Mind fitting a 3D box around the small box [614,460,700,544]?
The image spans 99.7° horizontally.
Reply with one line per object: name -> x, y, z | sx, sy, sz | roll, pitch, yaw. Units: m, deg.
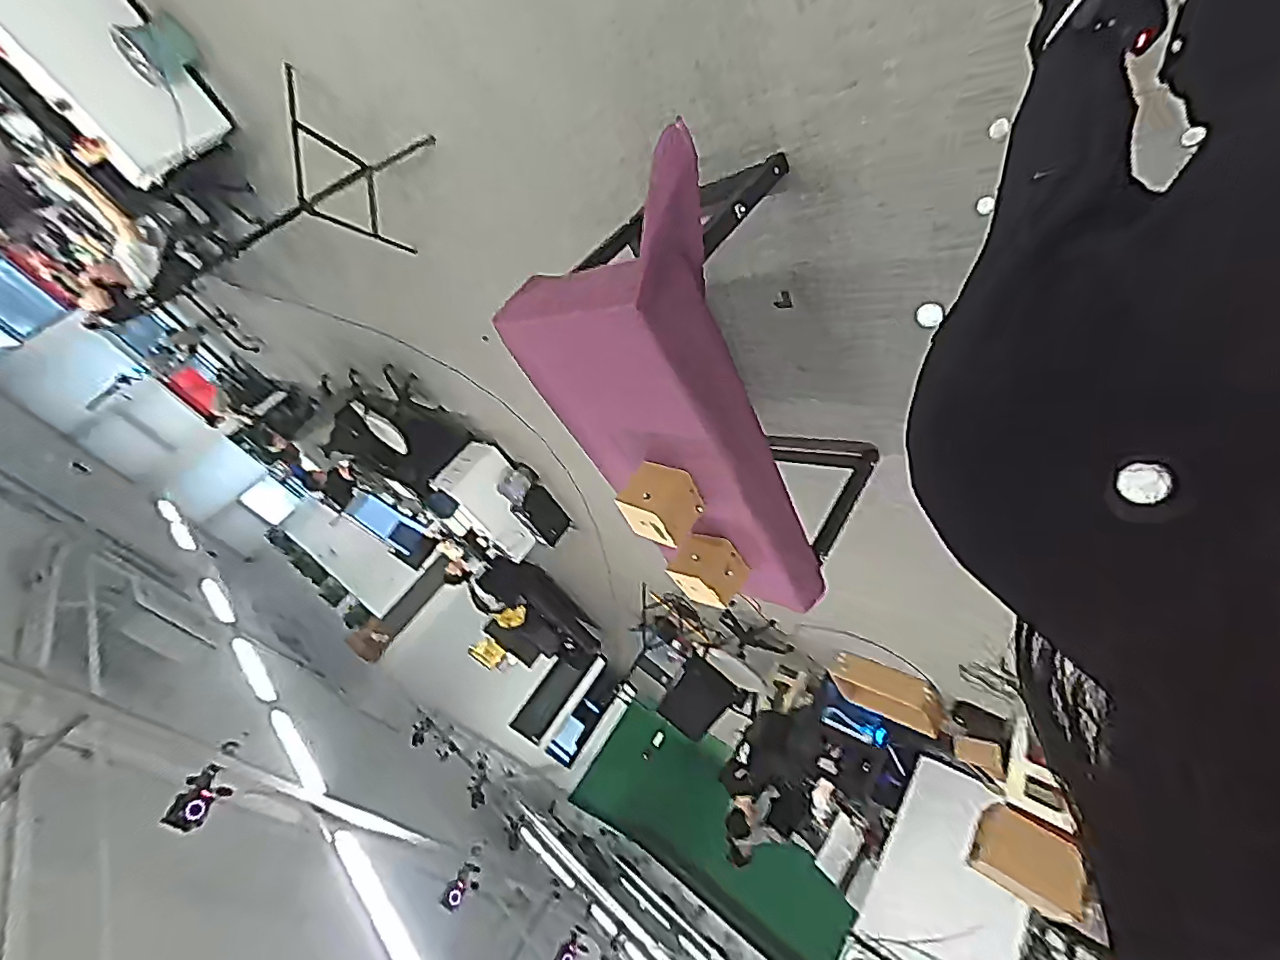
small box -> 0.060, 0.059, 1.623 | 0.179, 0.176, 0.168 | 17, 149, 40

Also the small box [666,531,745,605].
small box -> 0.226, 0.286, 1.796 | 0.179, 0.176, 0.168 | 2, 137, 52
